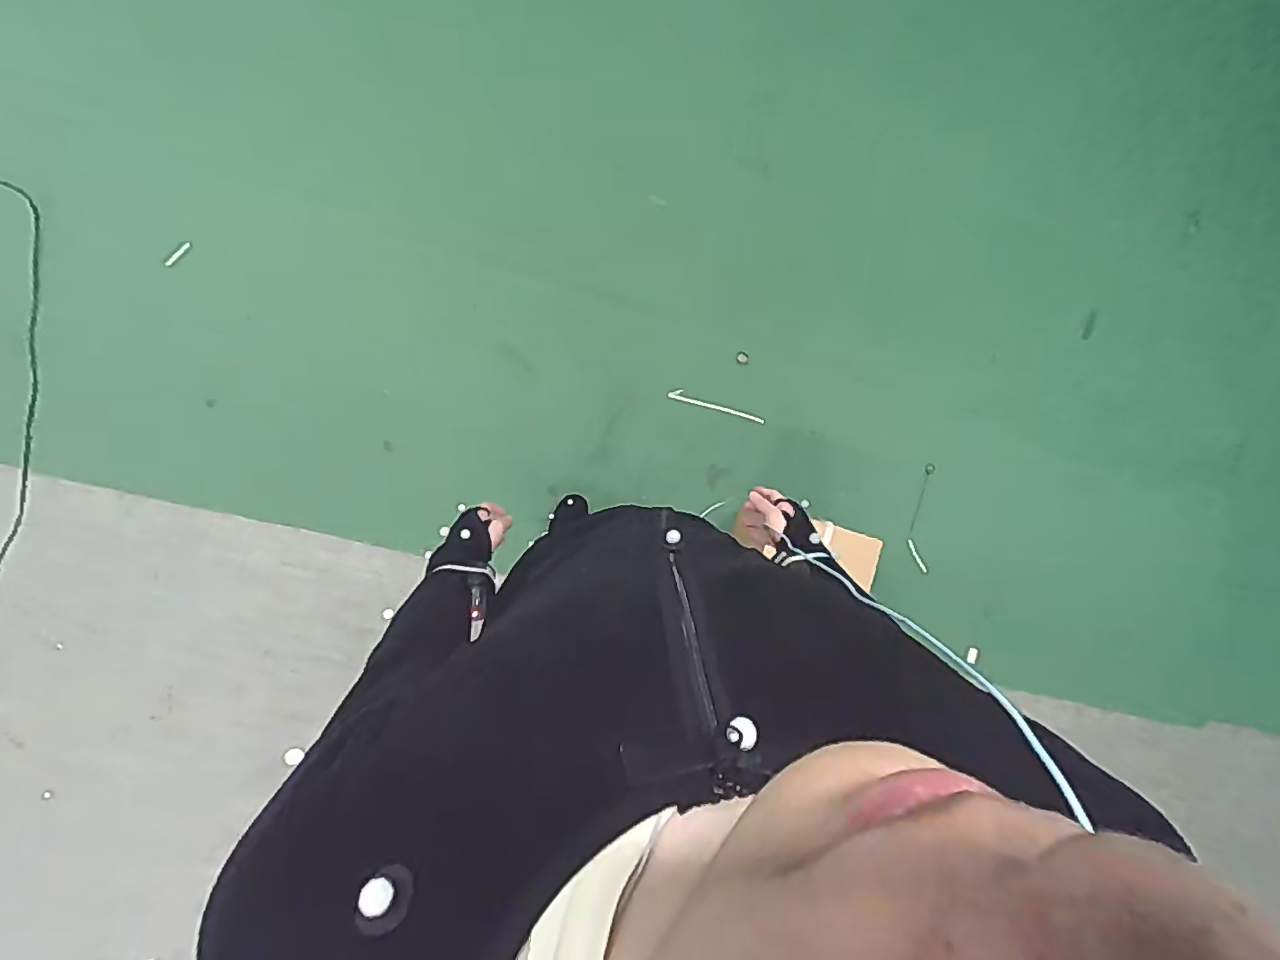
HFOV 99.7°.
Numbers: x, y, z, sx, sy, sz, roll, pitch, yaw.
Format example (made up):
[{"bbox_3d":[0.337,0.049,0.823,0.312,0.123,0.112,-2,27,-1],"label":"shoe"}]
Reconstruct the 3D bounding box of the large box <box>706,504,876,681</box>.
[{"bbox_3d":[0.417,0.300,1.562,0.320,0.320,0.408,17,86,-6],"label":"large box"}]
